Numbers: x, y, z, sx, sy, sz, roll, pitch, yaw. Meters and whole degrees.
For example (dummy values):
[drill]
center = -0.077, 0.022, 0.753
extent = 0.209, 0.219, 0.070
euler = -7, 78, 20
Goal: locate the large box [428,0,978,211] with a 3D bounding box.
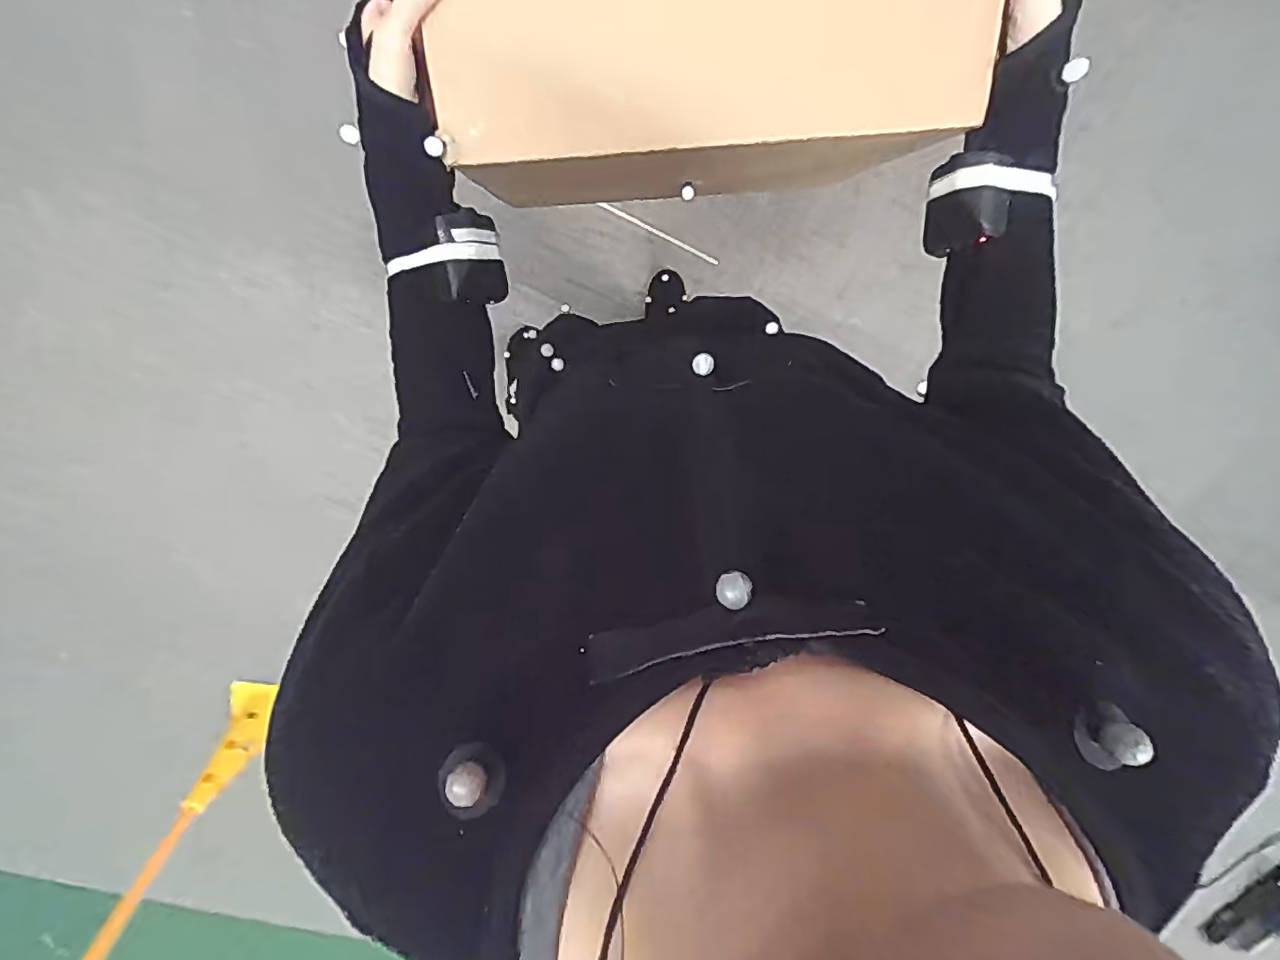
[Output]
[large box]
center = 0.037, -0.451, 0.504
extent = 0.408, 0.320, 0.320
euler = -6, 110, -1
